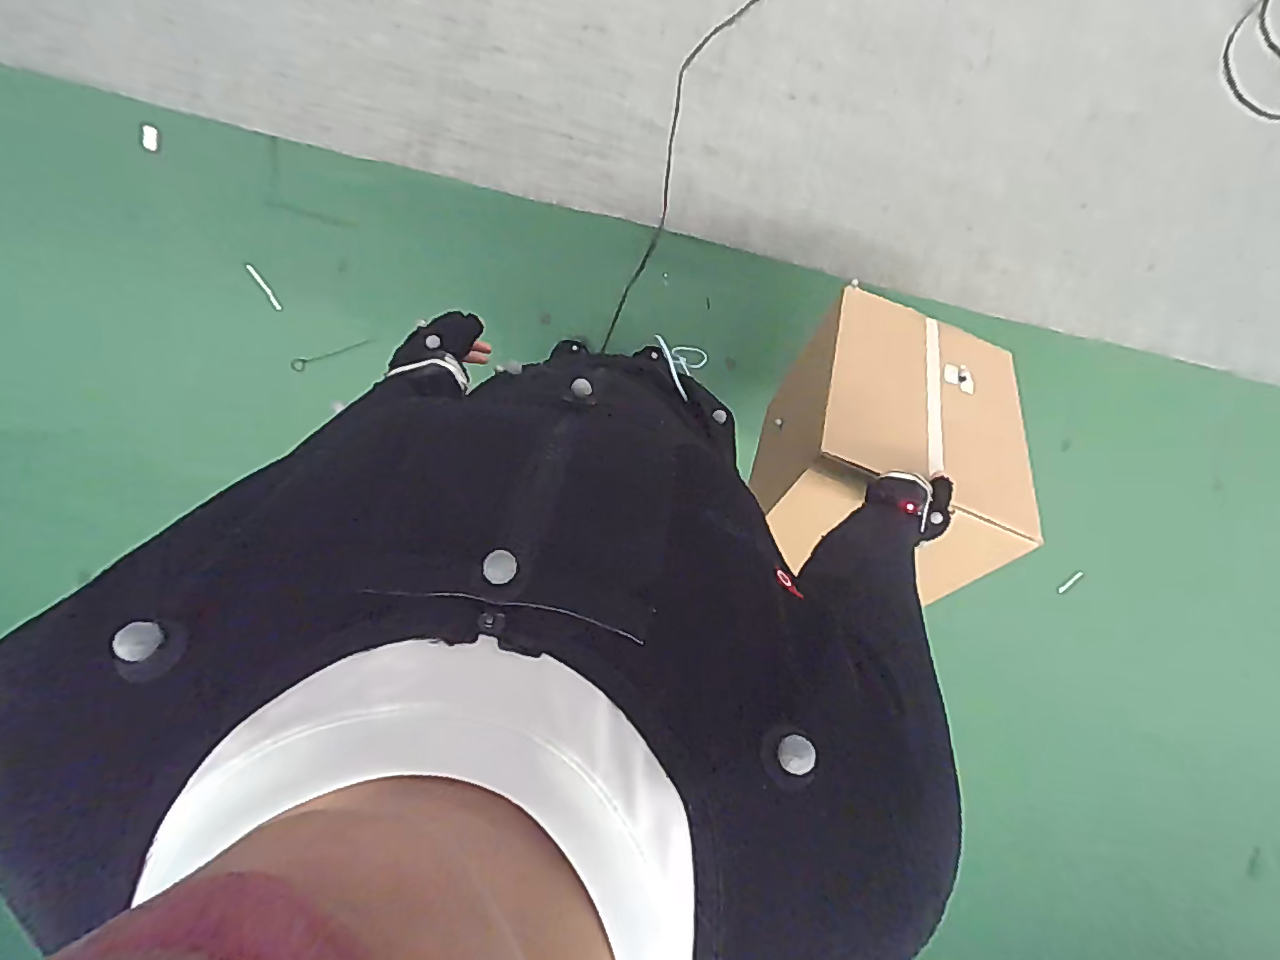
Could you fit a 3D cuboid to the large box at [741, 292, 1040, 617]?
[{"bbox_3d":[0.401,-0.039,0.934,0.320,0.408,0.320,23,143,-1],"label":"large box"}]
